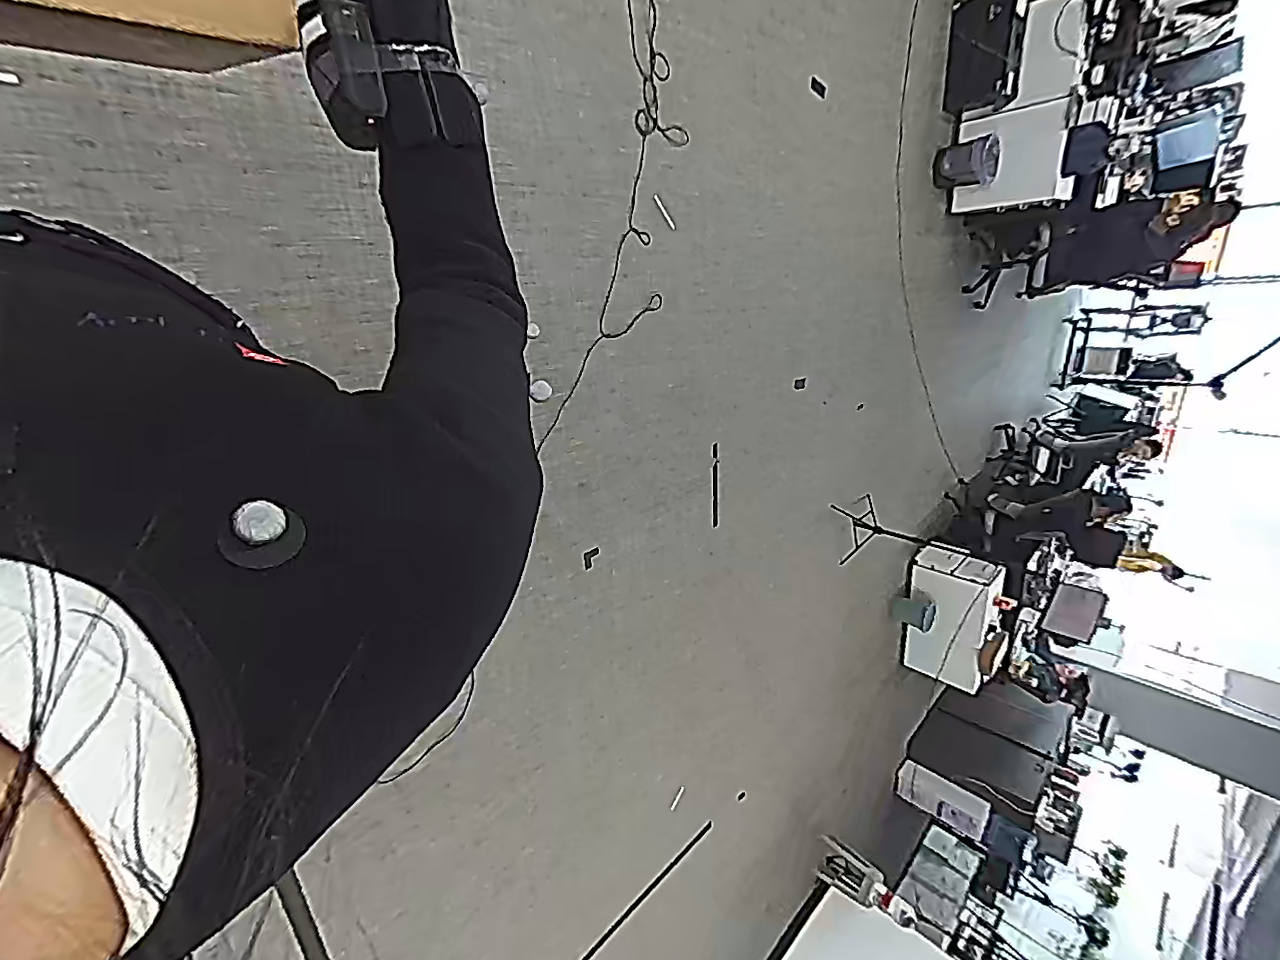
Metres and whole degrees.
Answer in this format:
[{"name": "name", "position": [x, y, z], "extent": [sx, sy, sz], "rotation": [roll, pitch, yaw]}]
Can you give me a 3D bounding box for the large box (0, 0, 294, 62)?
[{"name": "large box", "position": [-0.445, -0.401, 0.223], "extent": [0.408, 0.320, 0.320], "rotation": [-22, 131, -38]}]
